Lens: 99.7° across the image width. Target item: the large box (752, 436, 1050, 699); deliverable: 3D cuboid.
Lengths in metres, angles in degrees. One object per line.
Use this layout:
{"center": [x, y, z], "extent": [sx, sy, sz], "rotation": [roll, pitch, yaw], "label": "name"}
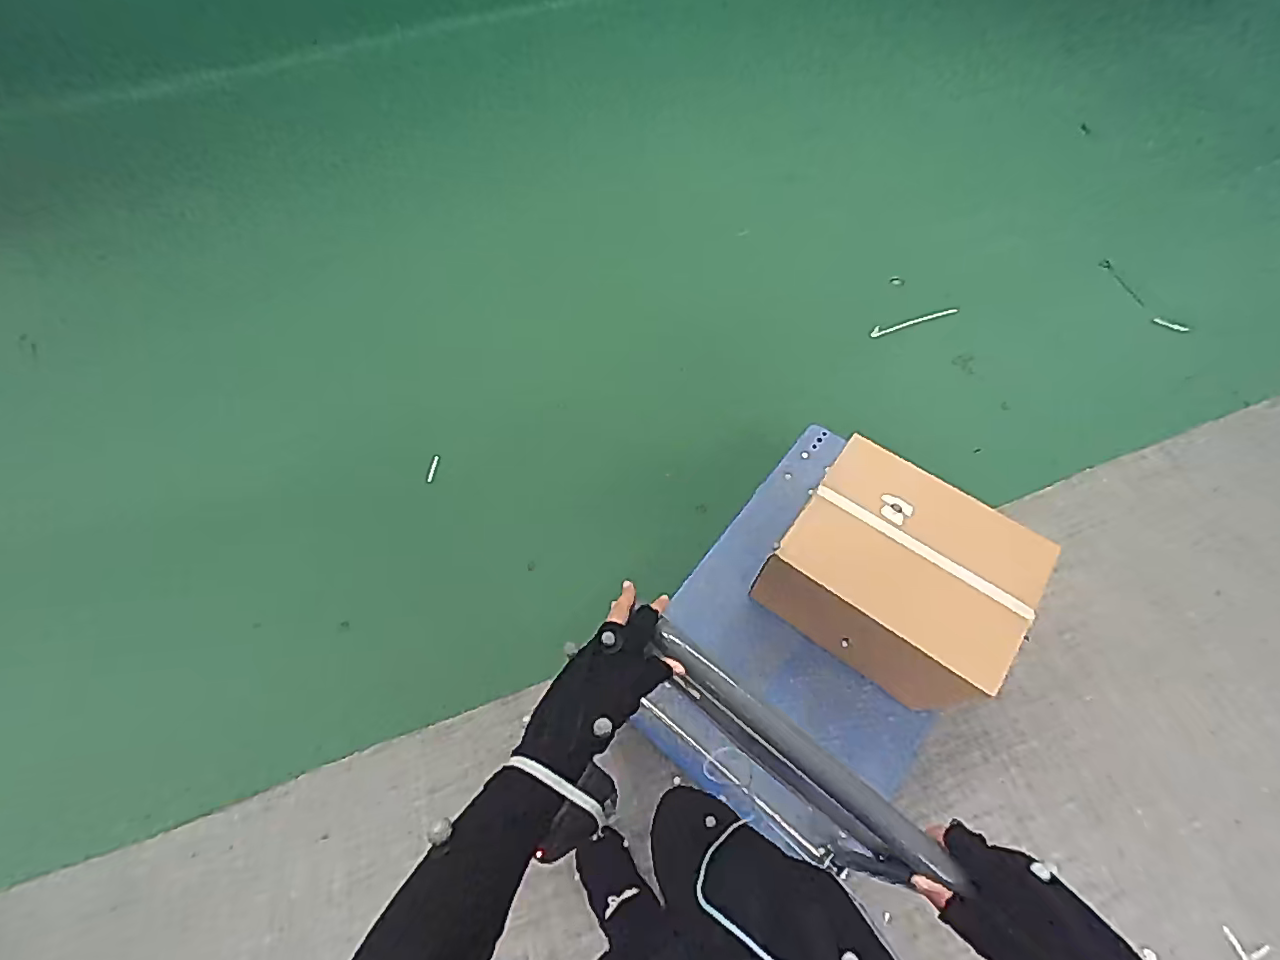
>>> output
{"center": [0.495, 0.187, 1.104], "extent": [0.408, 0.320, 0.320], "rotation": [33, 69, 18], "label": "large box"}
